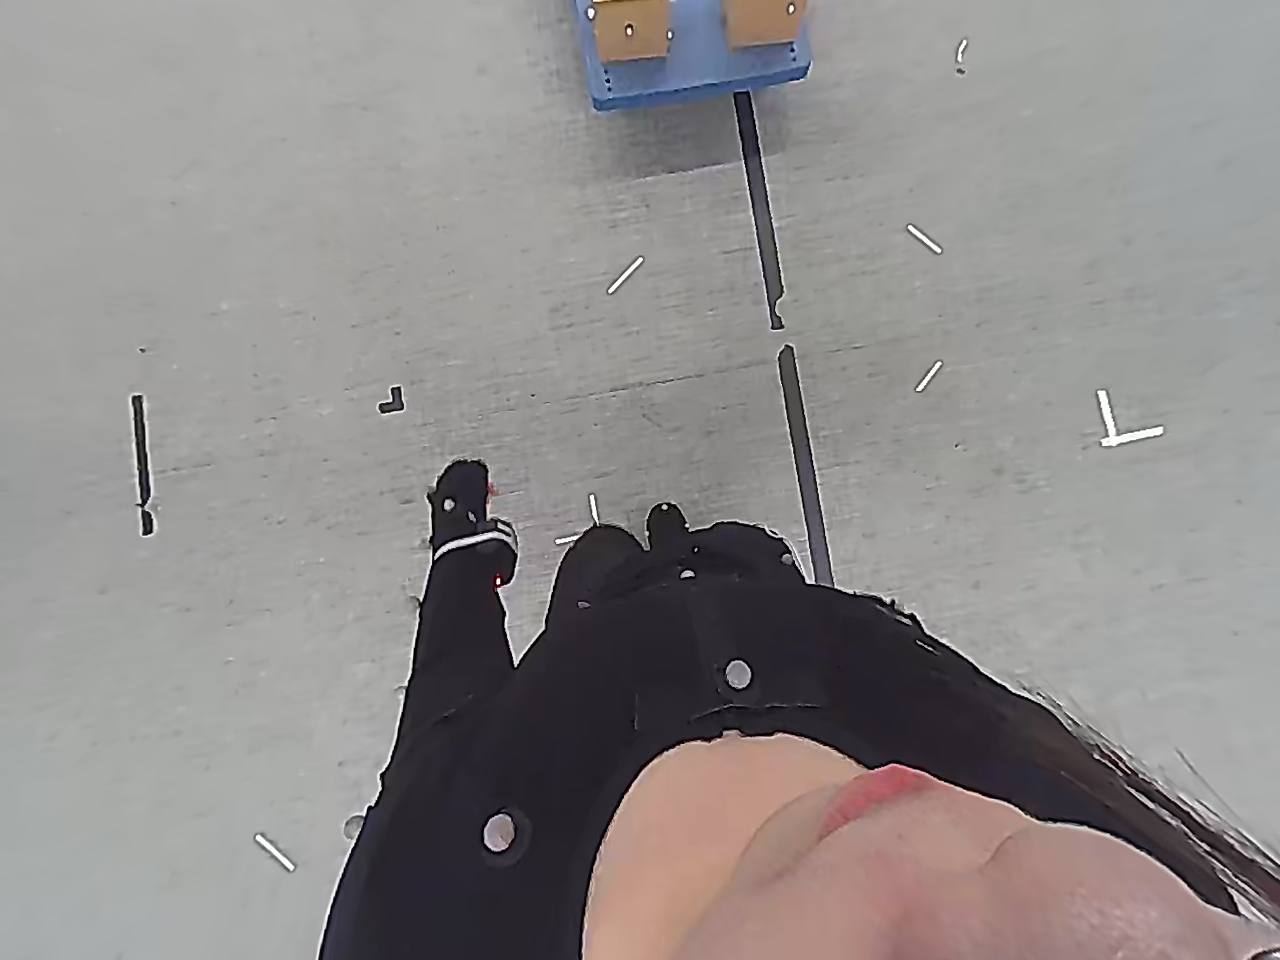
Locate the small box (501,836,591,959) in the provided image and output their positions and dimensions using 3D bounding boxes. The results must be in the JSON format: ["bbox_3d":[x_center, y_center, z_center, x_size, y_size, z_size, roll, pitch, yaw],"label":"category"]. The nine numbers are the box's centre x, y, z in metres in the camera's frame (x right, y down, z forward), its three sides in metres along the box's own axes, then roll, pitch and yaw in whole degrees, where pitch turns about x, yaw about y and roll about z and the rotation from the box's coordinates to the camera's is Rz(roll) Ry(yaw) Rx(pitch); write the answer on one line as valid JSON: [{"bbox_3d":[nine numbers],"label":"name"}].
[{"bbox_3d":[-0.205,0.942,1.227,0.179,0.176,0.168,-4,87,1],"label":"small box"}]

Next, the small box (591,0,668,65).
[{"bbox_3d":[-0.029,-1.151,1.308,0.179,0.176,0.168,-5,86,1],"label":"small box"}]
